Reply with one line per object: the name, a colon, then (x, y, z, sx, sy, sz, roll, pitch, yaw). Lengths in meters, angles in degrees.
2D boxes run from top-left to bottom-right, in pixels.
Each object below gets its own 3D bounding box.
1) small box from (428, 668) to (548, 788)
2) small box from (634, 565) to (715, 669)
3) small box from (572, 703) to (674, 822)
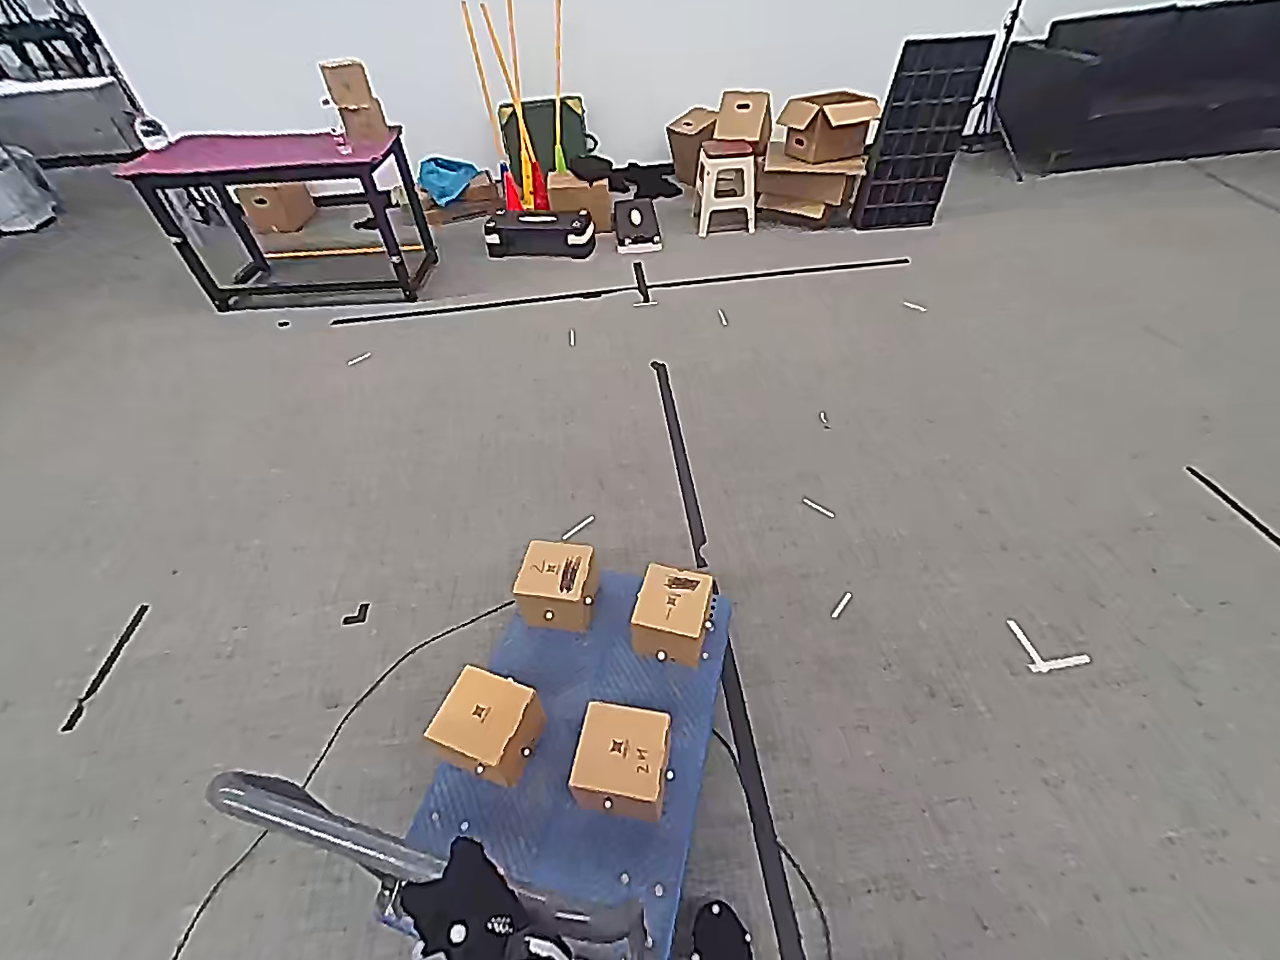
small box: (-0.325, 0.550, 1.194, 0.179, 0.176, 0.168, 13, 48, 15)
small box: (0.089, 0.345, 1.362, 0.168, 0.176, 0.179, 10, 48, 13)
small box: (-0.027, 0.592, 1.130, 0.179, 0.176, 0.168, 5, 47, 10)
